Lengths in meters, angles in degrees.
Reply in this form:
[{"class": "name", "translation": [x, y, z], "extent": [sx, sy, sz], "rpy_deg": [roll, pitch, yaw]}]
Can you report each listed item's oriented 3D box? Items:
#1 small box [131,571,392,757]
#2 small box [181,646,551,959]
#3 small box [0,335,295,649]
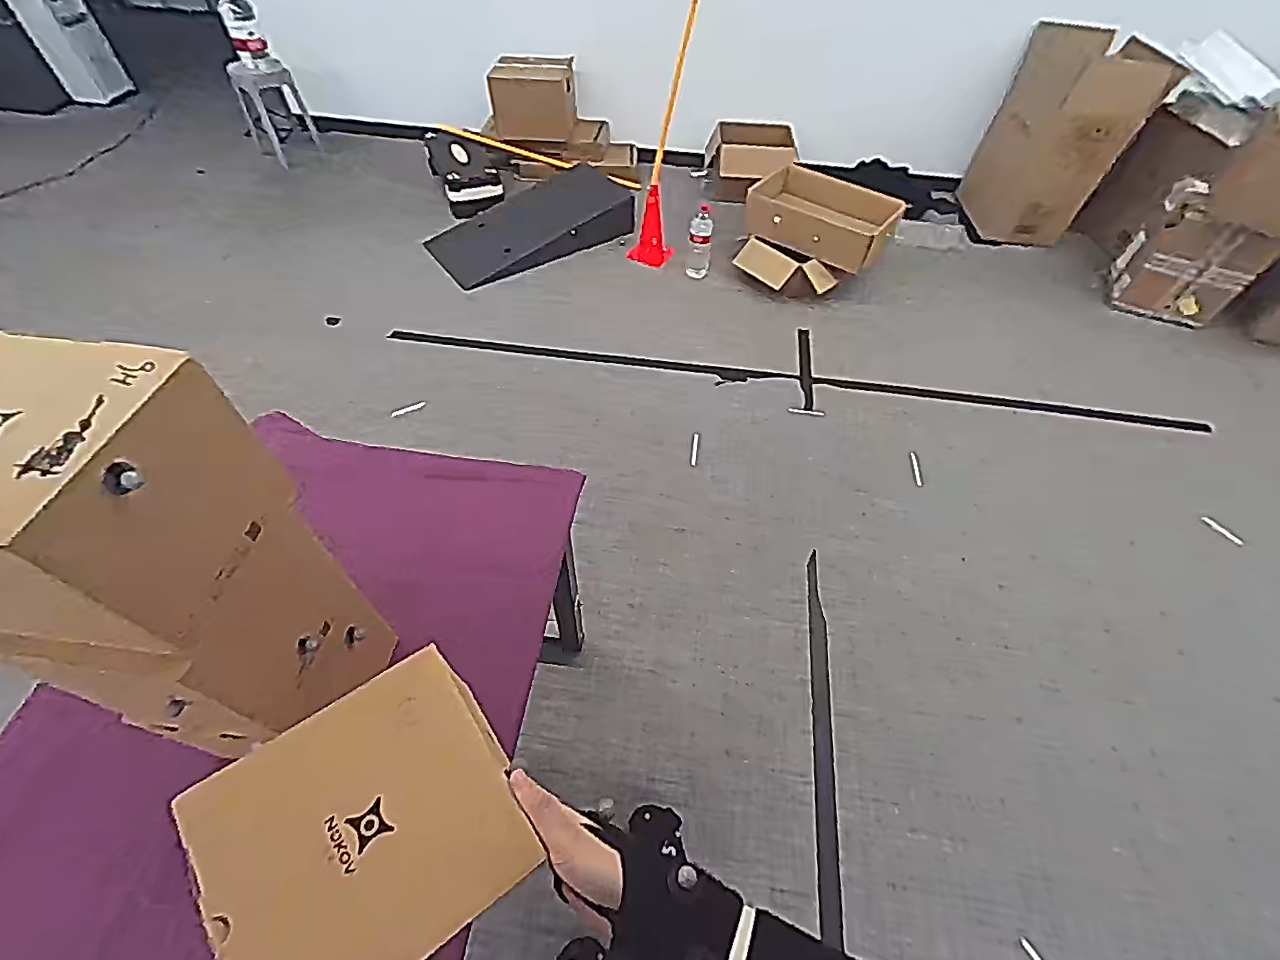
[{"class": "small box", "translation": [-0.427, 0.231, 0.654], "extent": [0.168, 0.176, 0.179], "rpy_deg": [6, 53, 3]}, {"class": "small box", "translation": [-0.183, 0.258, 0.411], "extent": [0.179, 0.176, 0.168], "rpy_deg": [-30, 68, -21]}, {"class": "small box", "translation": [-0.416, 0.014, 0.407], "extent": [0.179, 0.176, 0.168], "rpy_deg": [6, 52, 3]}]
